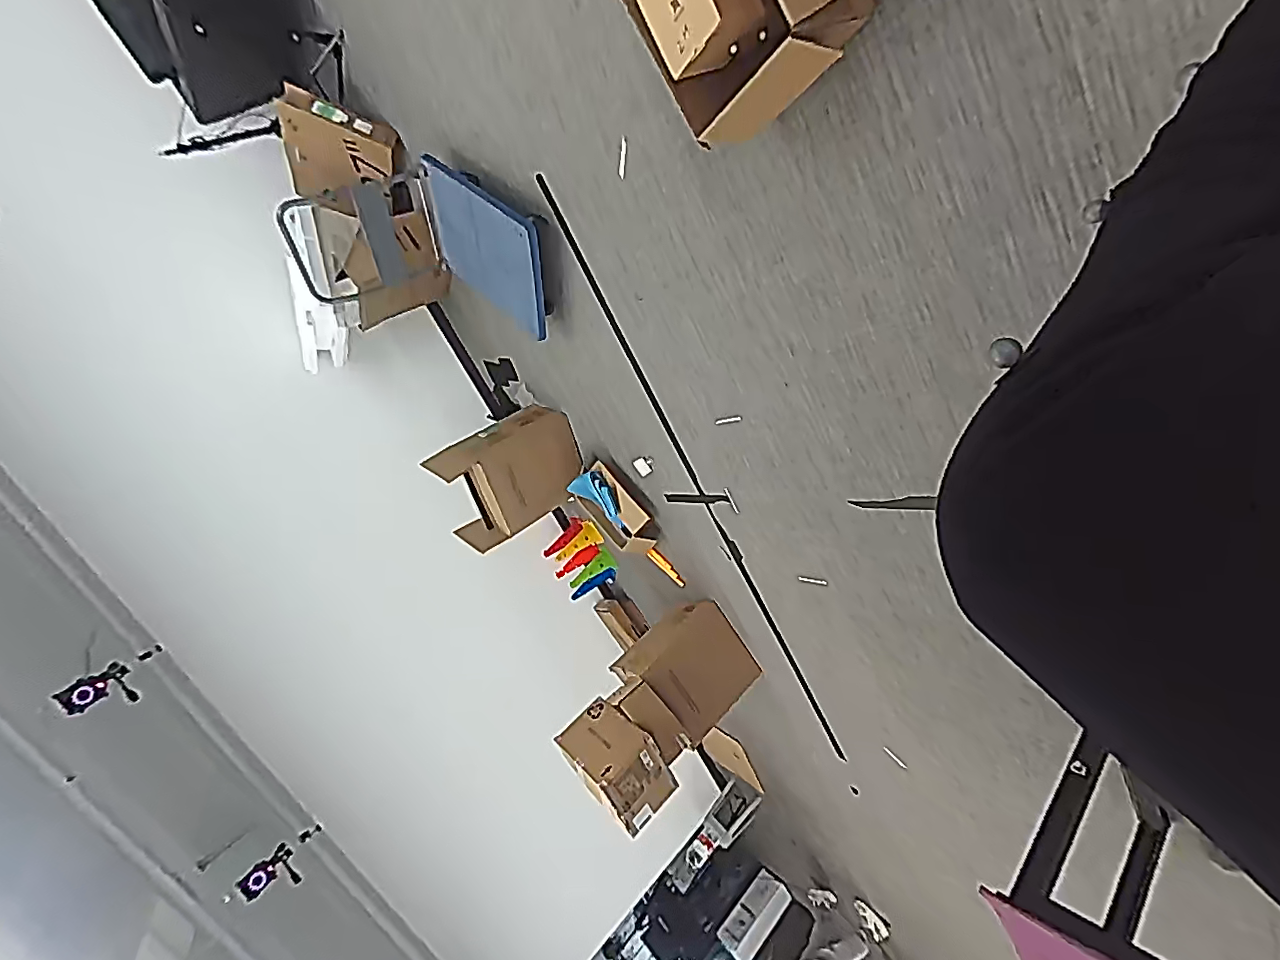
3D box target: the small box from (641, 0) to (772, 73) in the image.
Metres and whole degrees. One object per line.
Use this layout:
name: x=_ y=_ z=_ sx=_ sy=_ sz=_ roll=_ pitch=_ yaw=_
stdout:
small box: x=0.134 y=-0.986 z=1.105 sx=0.168 sy=0.176 sz=0.179 roll=-6 pitch=117 yaw=61
